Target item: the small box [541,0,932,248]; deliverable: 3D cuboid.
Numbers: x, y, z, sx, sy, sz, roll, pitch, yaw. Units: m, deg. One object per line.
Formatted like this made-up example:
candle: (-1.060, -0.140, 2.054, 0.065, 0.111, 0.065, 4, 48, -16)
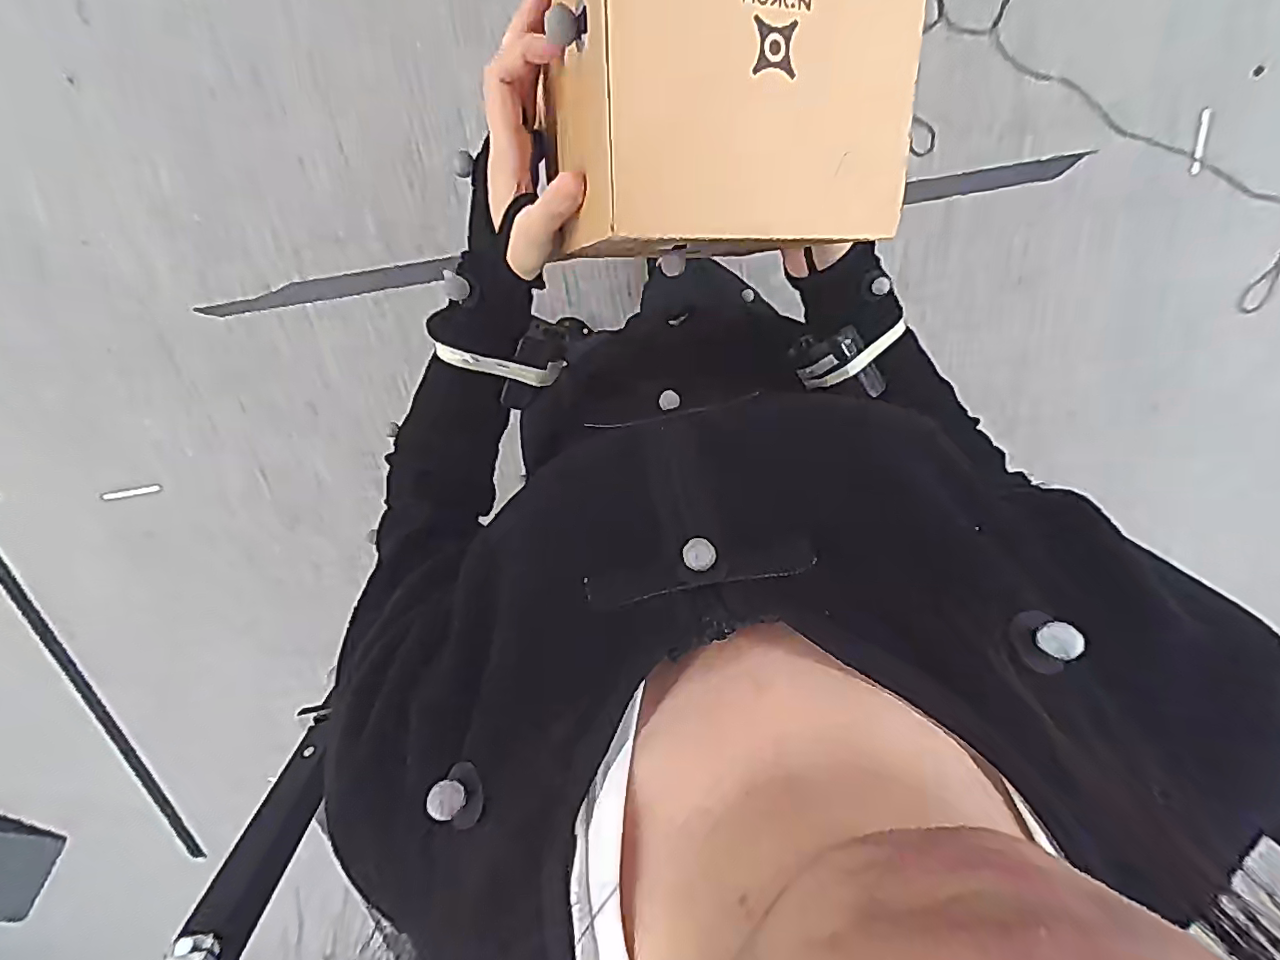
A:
small box: (0.039, -0.235, 0.319, 0.168, 0.176, 0.179, -8, 110, -17)
